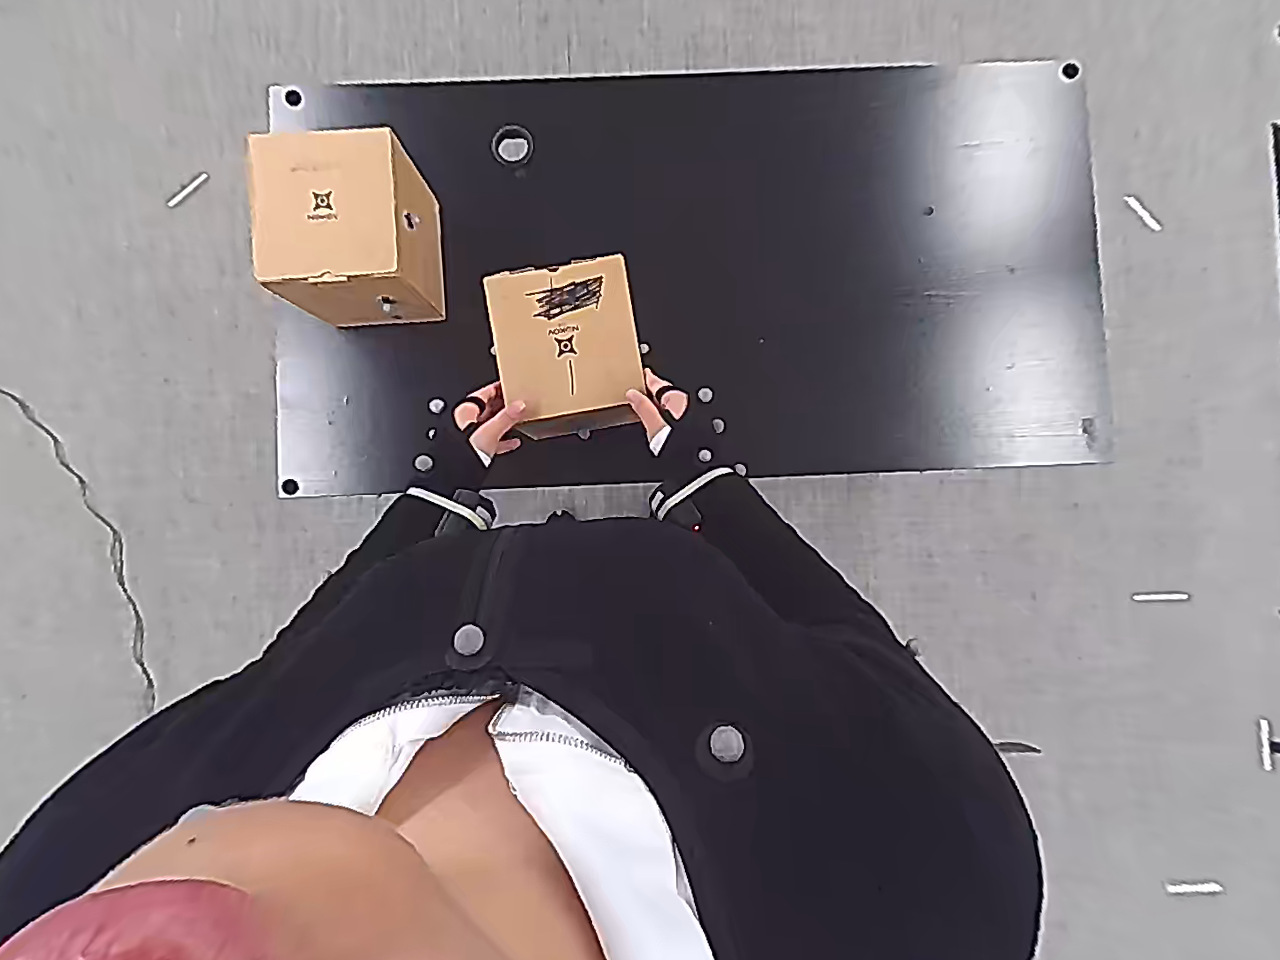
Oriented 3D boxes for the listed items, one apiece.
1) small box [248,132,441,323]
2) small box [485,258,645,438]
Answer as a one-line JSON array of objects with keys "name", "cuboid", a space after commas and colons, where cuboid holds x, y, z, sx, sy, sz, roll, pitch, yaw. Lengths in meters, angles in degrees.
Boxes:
[{"name": "small box", "cuboid": [-0.371, -0.315, 0.709, 0.168, 0.176, 0.179, -4, 88, -2]}, {"name": "small box", "cuboid": [-0.091, -0.160, 0.707, 0.168, 0.176, 0.179, -10, 89, -1]}]
